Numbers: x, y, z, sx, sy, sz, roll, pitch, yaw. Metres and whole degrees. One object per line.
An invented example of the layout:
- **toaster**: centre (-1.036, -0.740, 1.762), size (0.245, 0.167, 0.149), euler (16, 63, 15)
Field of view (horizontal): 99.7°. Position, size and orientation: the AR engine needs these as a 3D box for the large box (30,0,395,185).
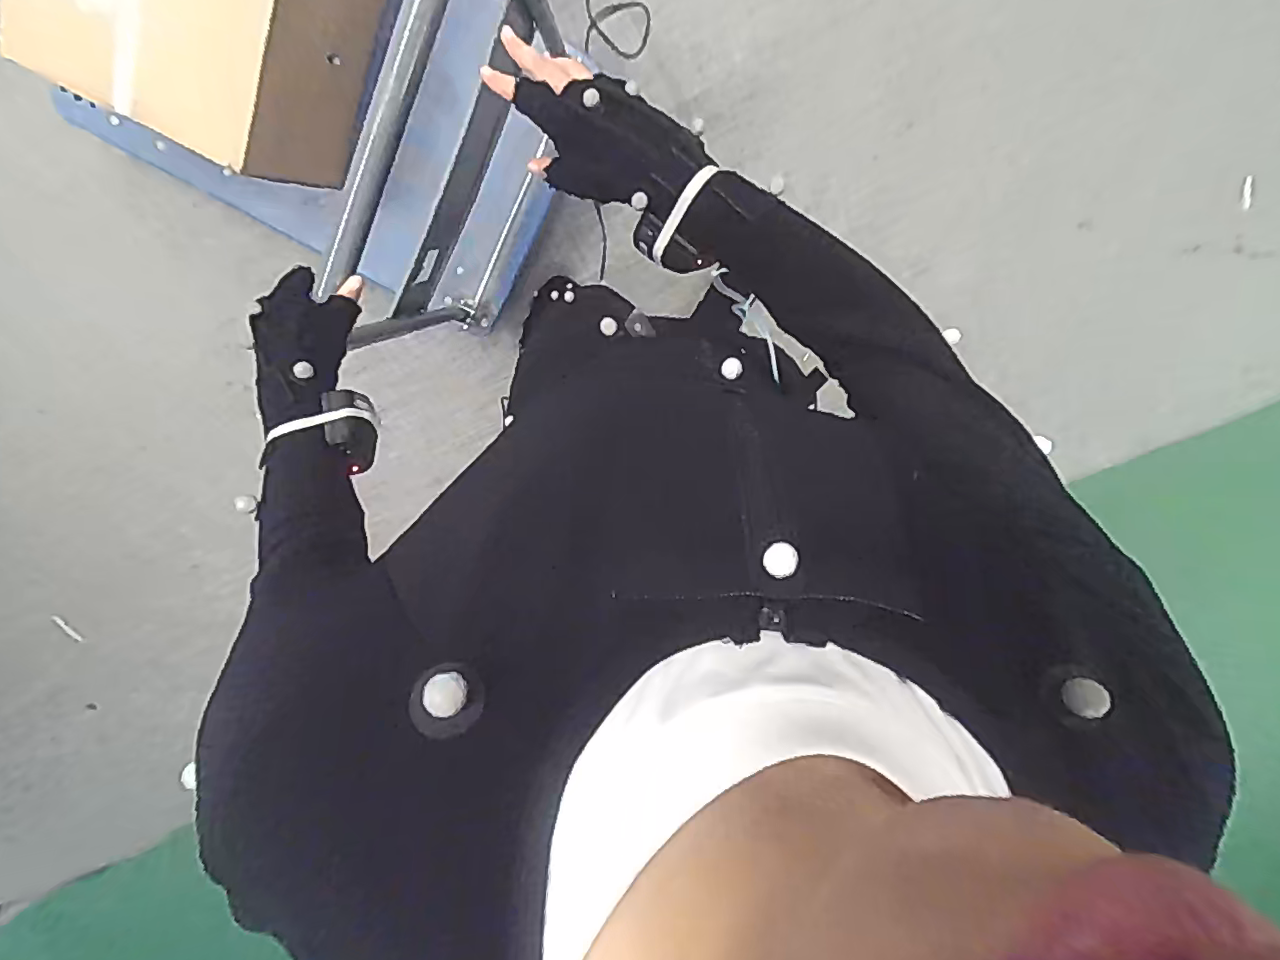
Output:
- **large box**: centre (-0.625, -0.744, 0.842), size (0.320, 0.320, 0.408), euler (25, 112, -12)
